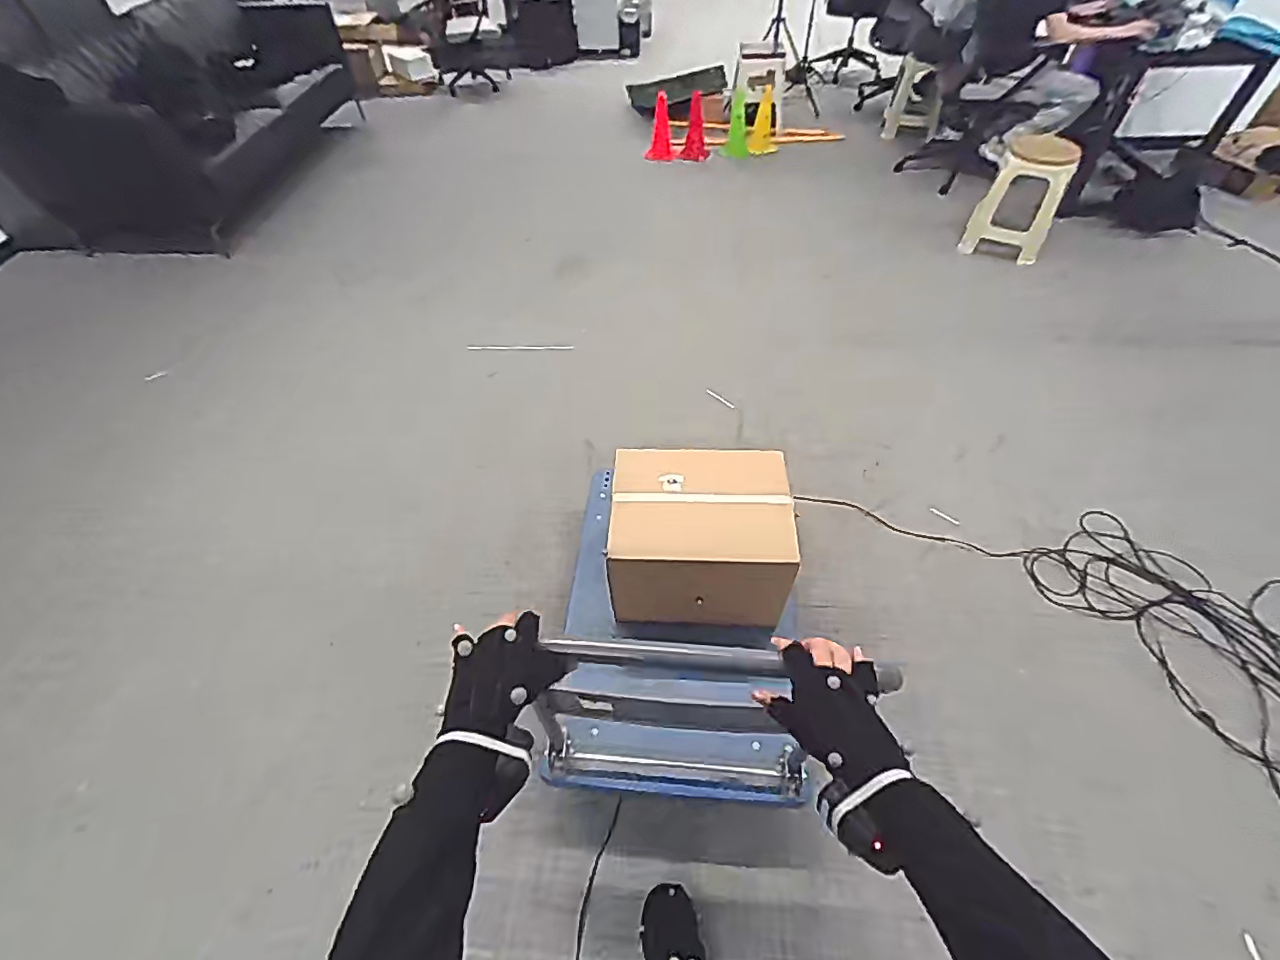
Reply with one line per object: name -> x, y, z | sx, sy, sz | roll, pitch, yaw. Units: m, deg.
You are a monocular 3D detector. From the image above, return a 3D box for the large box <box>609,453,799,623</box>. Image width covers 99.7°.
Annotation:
large box -> 0.144, 0.148, 1.338 | 0.408, 0.320, 0.320 | 0, 50, 3
